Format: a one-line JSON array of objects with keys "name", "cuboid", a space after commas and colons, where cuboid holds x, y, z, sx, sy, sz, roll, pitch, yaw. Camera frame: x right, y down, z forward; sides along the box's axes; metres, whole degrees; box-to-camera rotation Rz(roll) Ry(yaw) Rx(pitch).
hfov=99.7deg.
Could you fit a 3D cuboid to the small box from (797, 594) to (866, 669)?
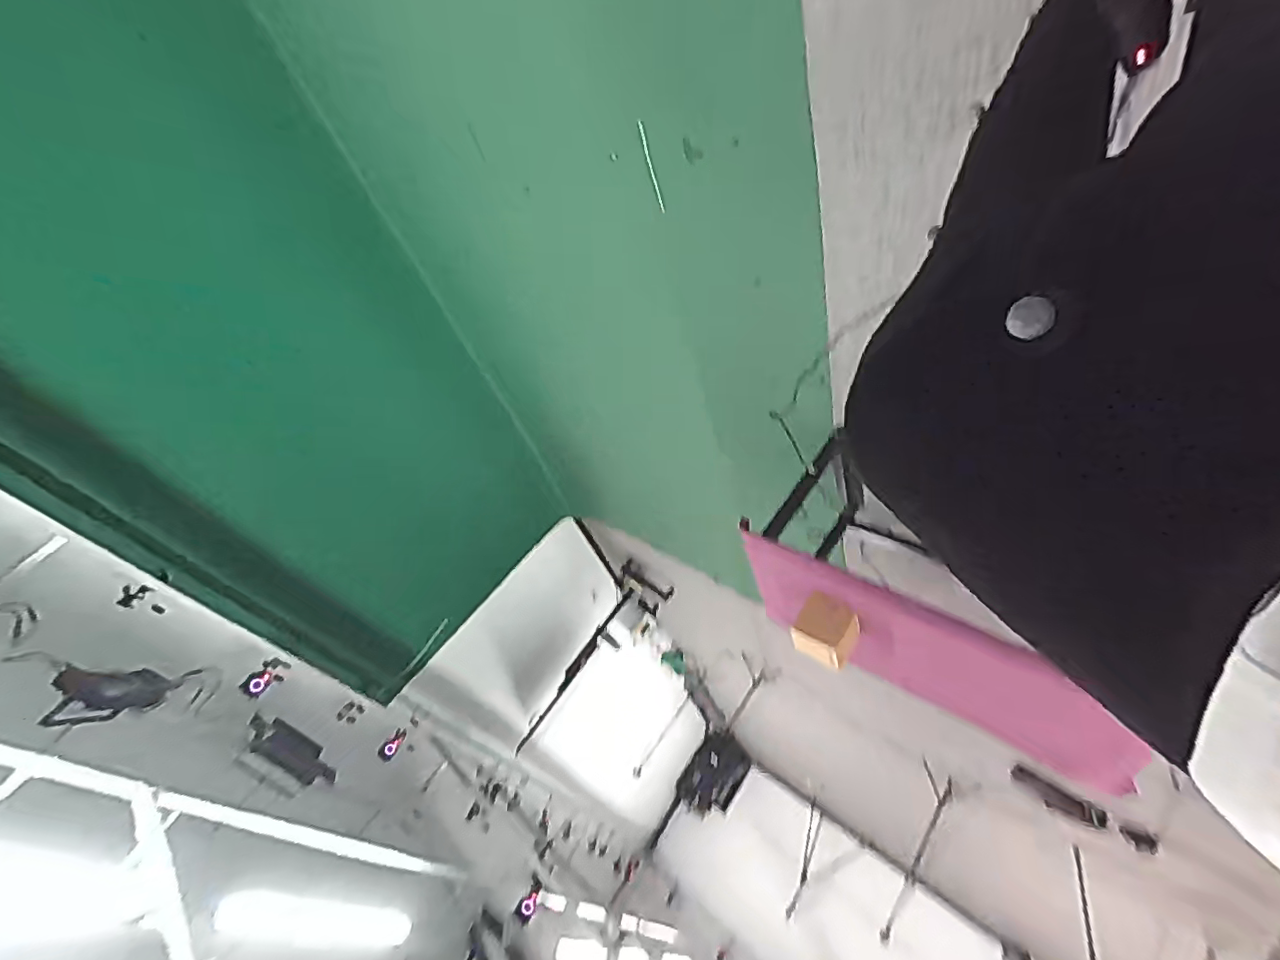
[{"name": "small box", "cuboid": [0.694, 0.538, 1.952, 0.179, 0.176, 0.168, 22, 151, 40]}]
